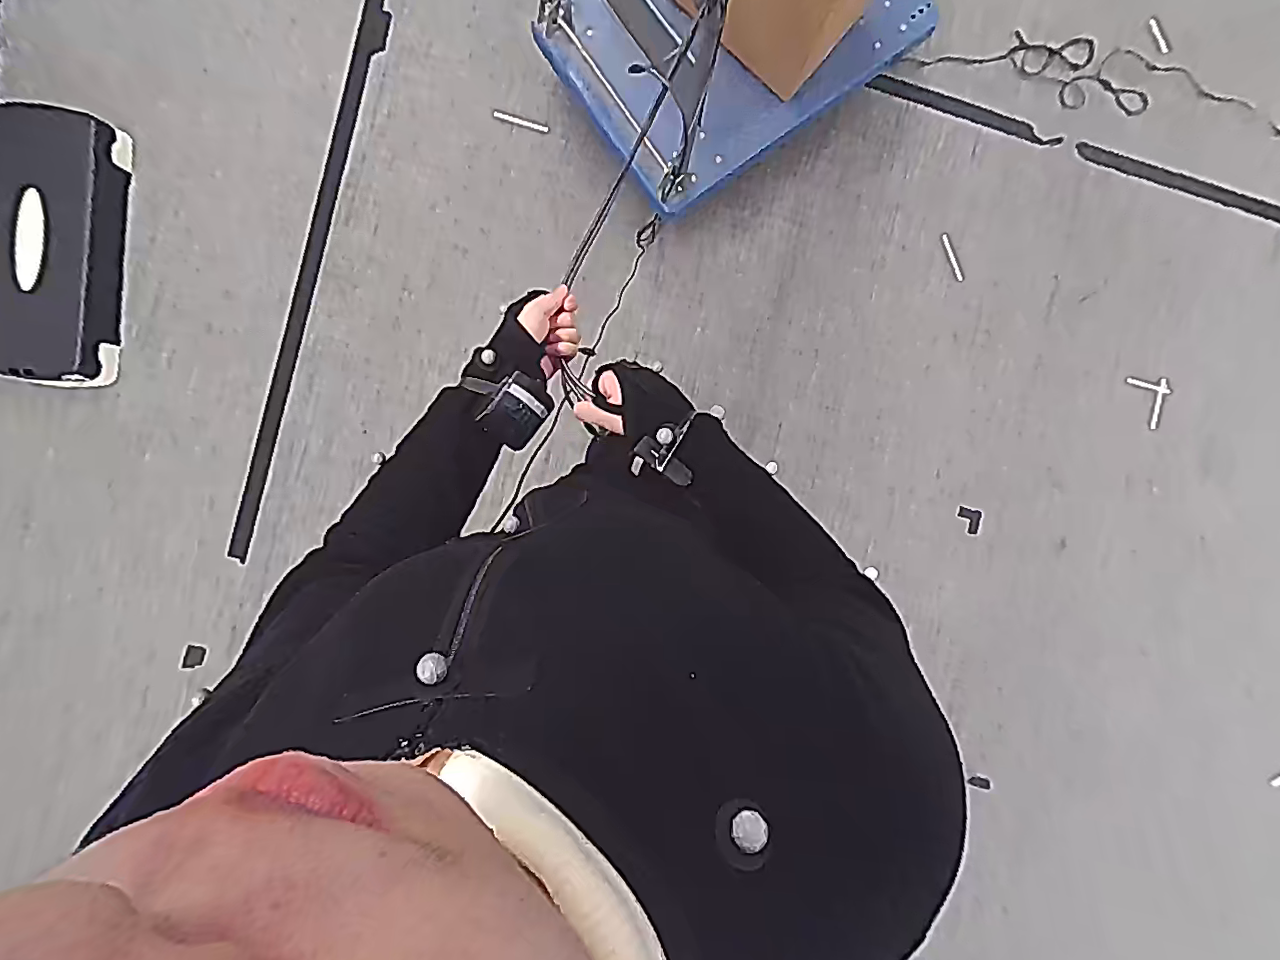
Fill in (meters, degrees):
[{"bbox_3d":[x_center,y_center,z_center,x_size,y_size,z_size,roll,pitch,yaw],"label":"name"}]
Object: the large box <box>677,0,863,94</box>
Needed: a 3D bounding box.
[{"bbox_3d":[0.308,-1.176,1.169,0.408,0.320,0.320,39,89,-4],"label":"large box"}]
